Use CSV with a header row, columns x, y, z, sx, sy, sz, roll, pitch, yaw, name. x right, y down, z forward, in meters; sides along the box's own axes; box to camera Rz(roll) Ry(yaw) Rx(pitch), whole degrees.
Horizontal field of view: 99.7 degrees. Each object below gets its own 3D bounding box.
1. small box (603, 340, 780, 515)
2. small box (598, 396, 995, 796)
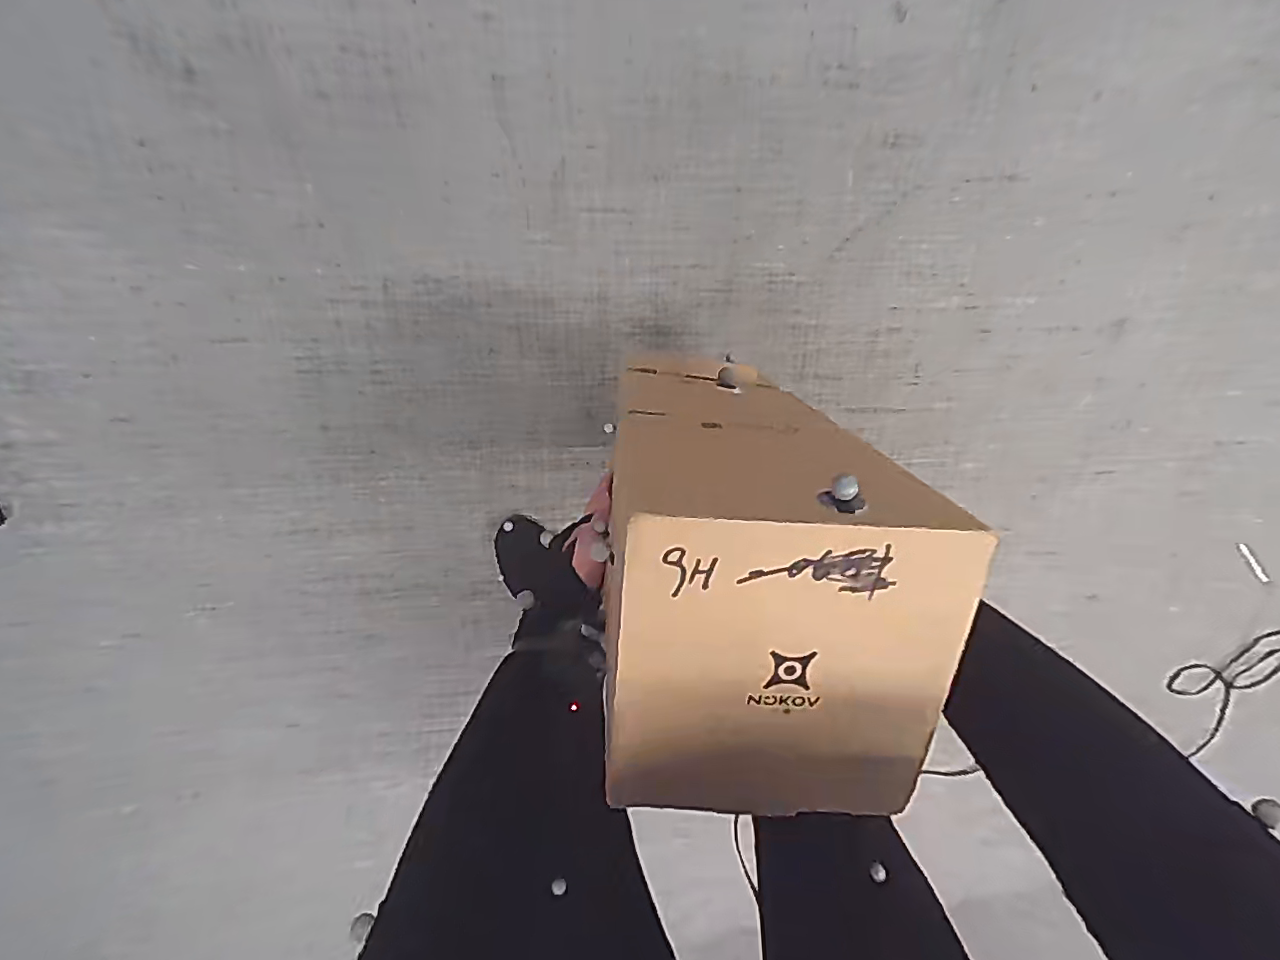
x,y,z,sx,sy,sz,roll,pitch,yaw,name
0.047,-0.062,0.635,0.168,0.176,0.179,6,111,-4,small box
0.063,0.058,0.333,0.168,0.176,0.179,3,112,-4,small box
